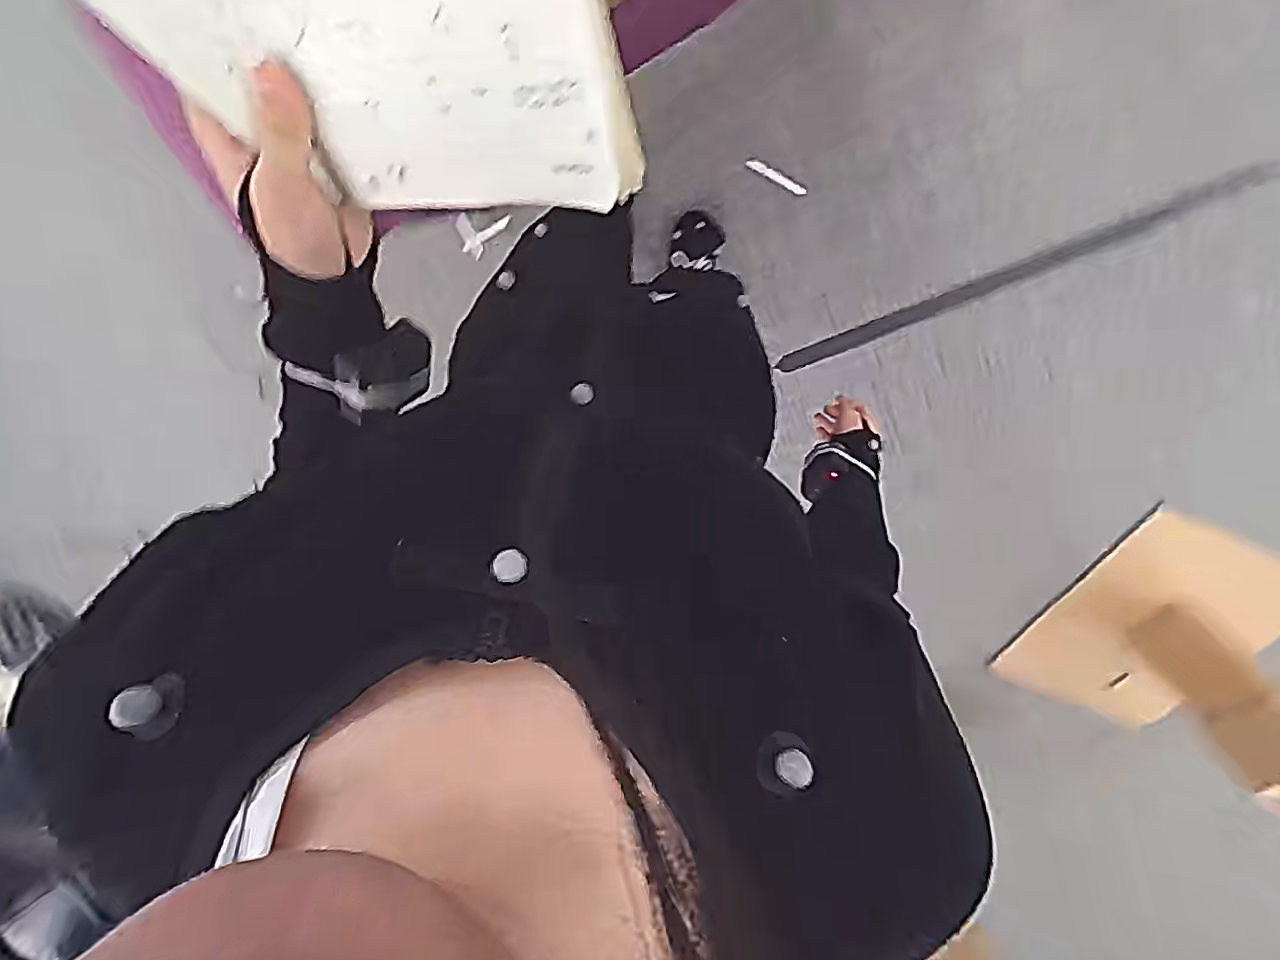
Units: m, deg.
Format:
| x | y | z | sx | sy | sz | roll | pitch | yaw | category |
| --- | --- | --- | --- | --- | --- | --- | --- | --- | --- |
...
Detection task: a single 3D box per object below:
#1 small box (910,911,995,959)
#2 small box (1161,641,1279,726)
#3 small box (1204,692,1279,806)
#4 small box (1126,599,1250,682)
| x | y | z | sx | sy | sz | roll | pitch | yaw | category |
| --- | --- | --- | --- | --- | --- | --- | --- | --- | --- |
| 0.802 | 1.219 | 1.352 | 0.168 | 0.176 | 0.179 | -22 | 113 | 18 | small box |
| 1.558 | 0.559 | 1.425 | 0.168 | 0.176 | 0.179 | 26 | 121 | -8 | small box |
| 1.522 | 0.645 | 1.289 | 0.168 | 0.176 | 0.179 | 29 | 120 | -10 | small box |
| 1.576 | 0.481 | 1.568 | 0.168 | 0.176 | 0.179 | 25 | 122 | -7 | small box |
